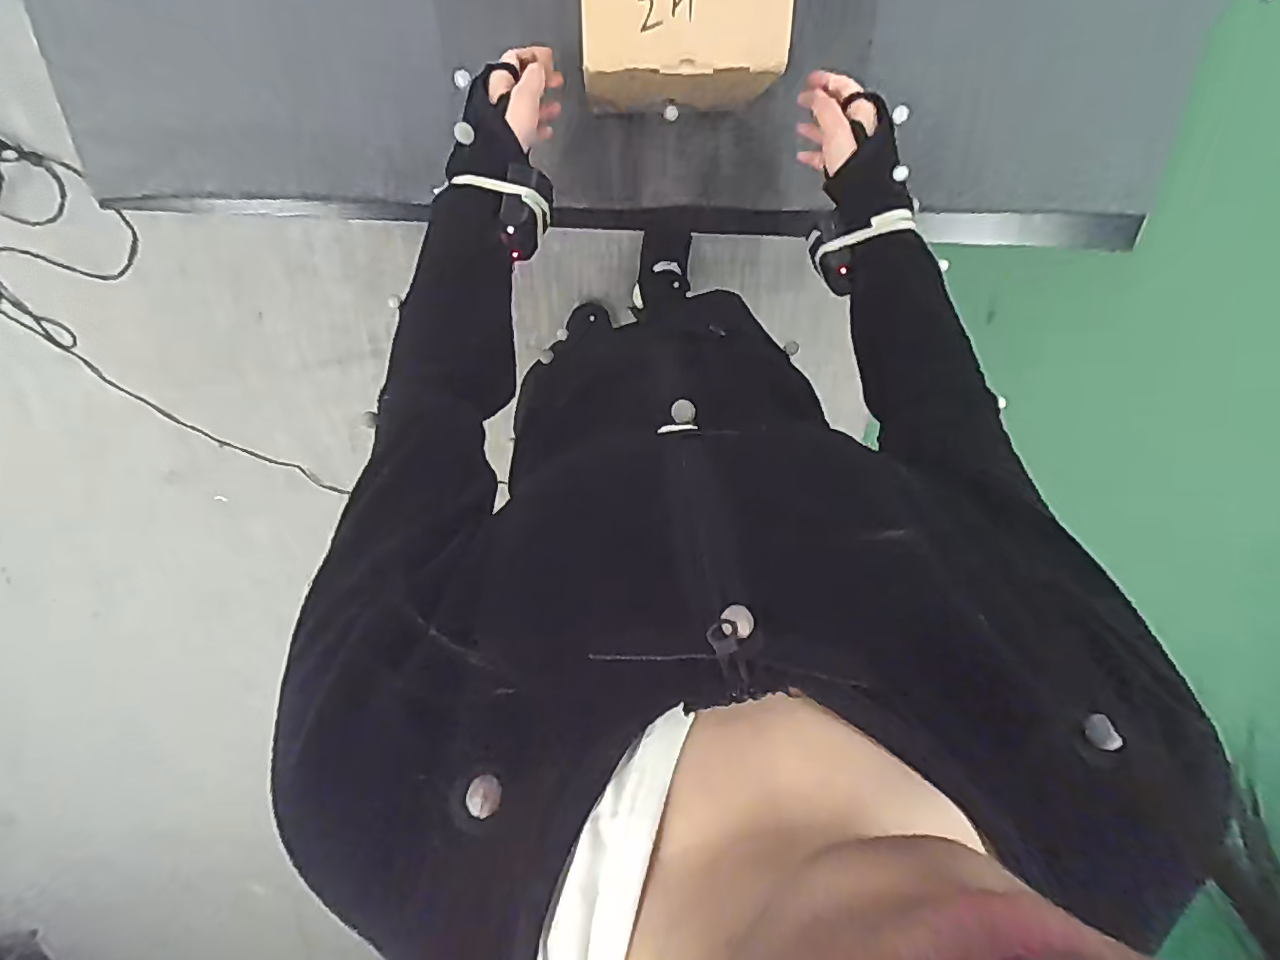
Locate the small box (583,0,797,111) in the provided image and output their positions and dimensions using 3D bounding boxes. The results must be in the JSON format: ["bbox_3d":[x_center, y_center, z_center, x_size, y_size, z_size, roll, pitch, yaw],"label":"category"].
[{"bbox_3d":[0.033,-0.439,0.462,0.168,0.176,0.179,-2,114,-2],"label":"small box"}]
